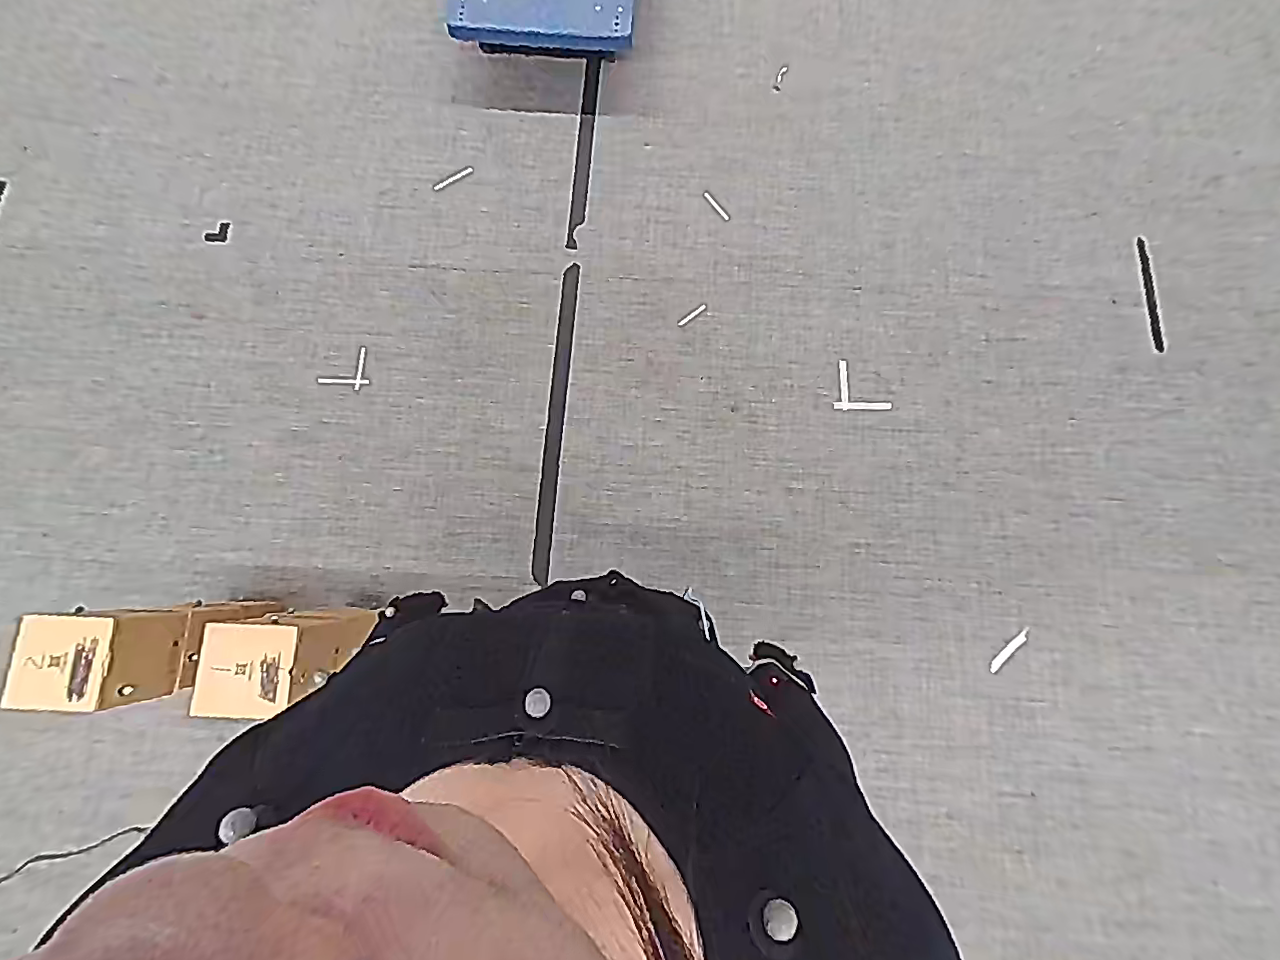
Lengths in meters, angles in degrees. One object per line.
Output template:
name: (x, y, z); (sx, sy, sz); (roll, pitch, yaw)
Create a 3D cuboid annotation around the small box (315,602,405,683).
small box: (-0.731, 0.414, 1.399); (0.168, 0.176, 0.179); (5, 78, 0)

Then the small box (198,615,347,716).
small box: (-0.716, 0.360, 1.077); (0.179, 0.176, 0.168); (2, 79, 0)

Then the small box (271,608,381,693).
small box: (-0.720, 0.384, 1.240); (0.179, 0.176, 0.168); (1, 80, -1)

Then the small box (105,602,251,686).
small box: (-1.043, 0.369, 1.235); (0.179, 0.176, 0.168); (1, 79, 0)

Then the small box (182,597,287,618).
small box: (-1.051, 0.398, 1.397); (0.168, 0.176, 0.179); (2, 79, -1)
